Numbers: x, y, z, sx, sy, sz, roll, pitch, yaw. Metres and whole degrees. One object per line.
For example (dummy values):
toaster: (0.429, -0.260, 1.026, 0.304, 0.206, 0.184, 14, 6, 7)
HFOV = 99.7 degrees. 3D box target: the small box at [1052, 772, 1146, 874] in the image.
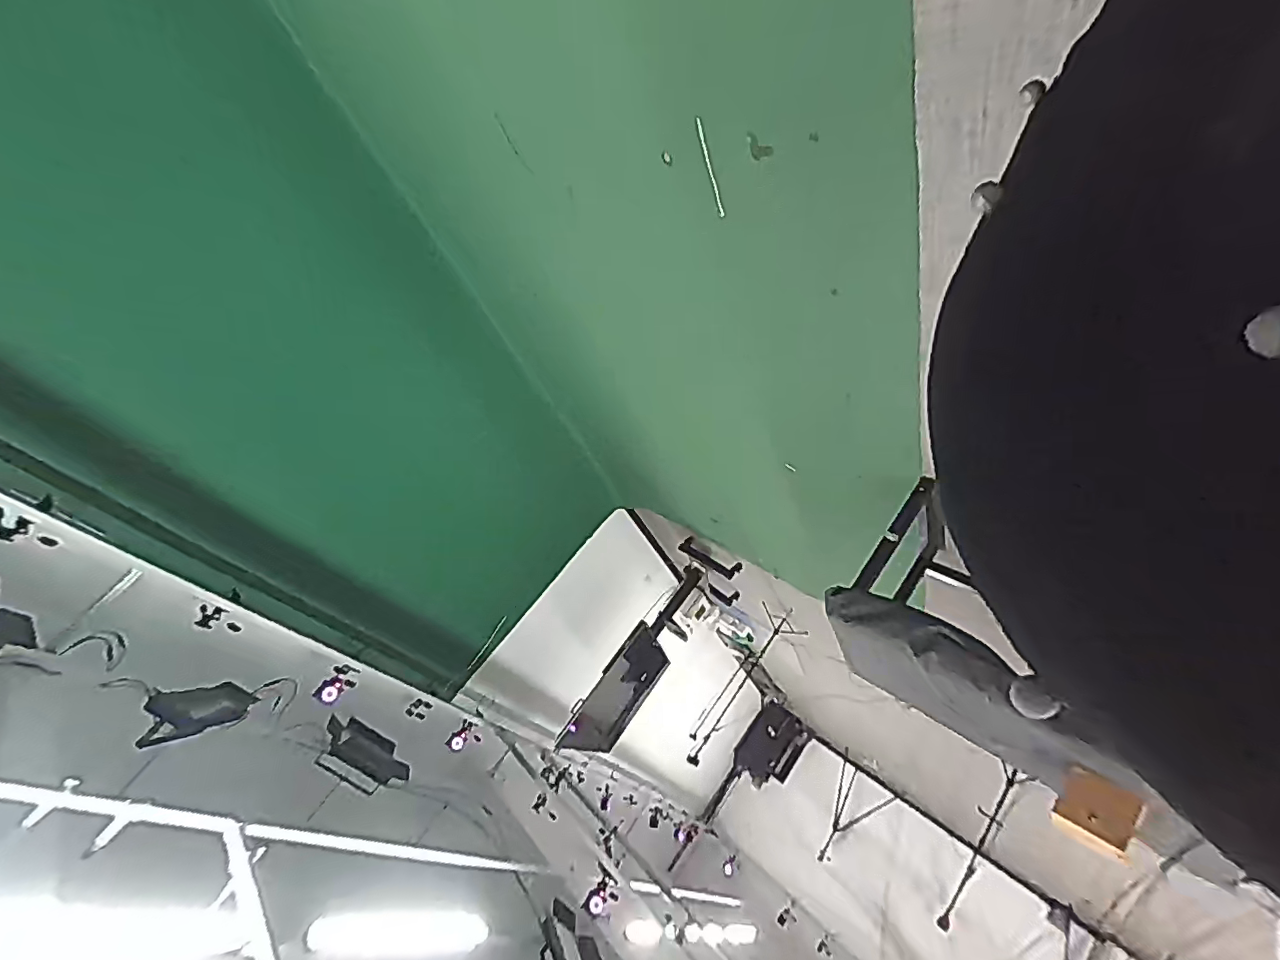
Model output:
small box: (1.361, 1.010, 1.602, 0.179, 0.176, 0.168, 21, 154, 51)
